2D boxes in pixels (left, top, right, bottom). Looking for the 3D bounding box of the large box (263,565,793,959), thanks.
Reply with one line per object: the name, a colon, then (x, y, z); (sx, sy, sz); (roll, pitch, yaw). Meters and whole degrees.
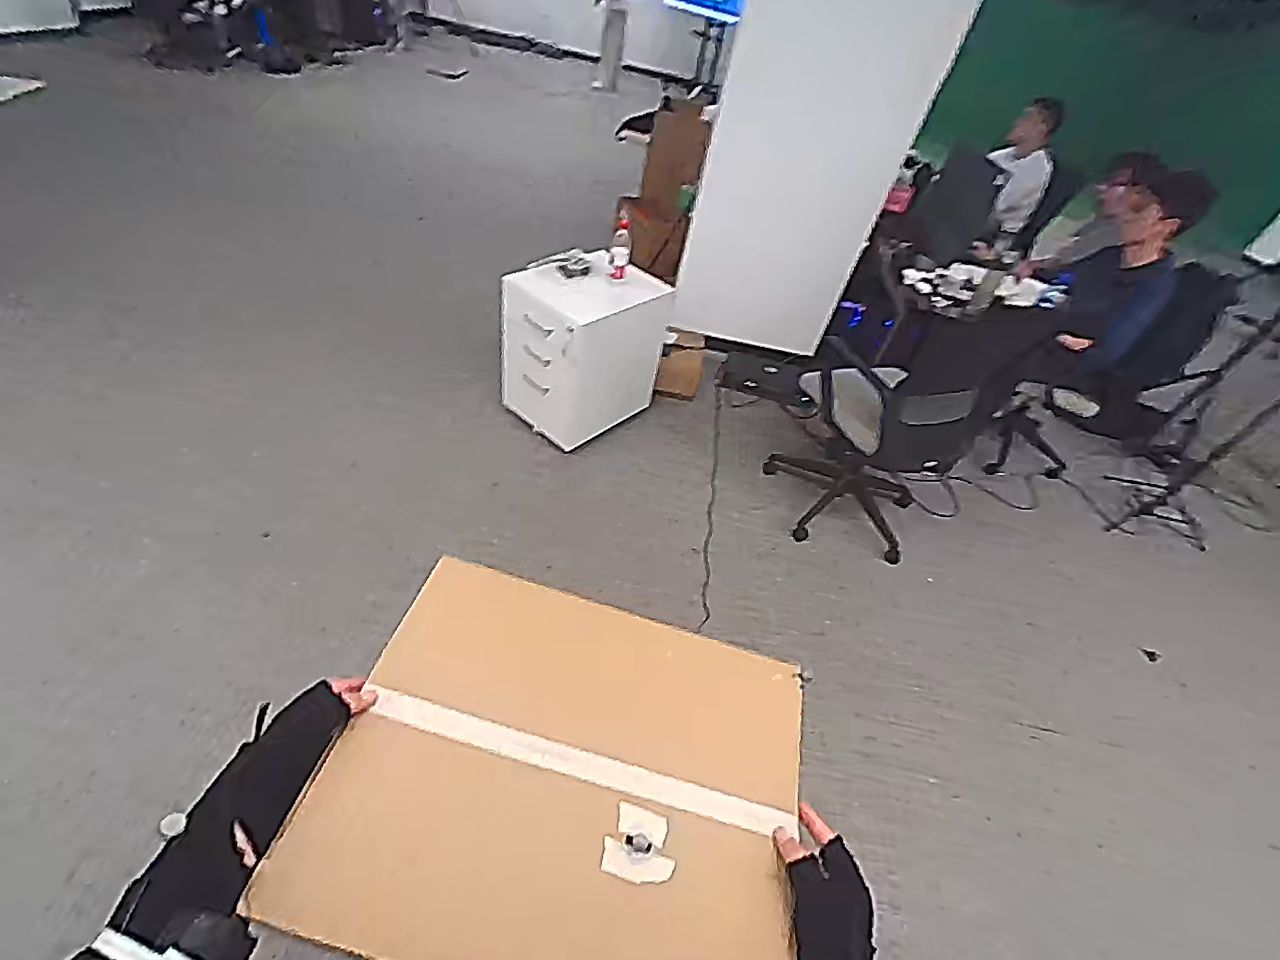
large box: (-0.086, 0.350, 0.598); (0.408, 0.320, 0.320); (18, 48, -1)
